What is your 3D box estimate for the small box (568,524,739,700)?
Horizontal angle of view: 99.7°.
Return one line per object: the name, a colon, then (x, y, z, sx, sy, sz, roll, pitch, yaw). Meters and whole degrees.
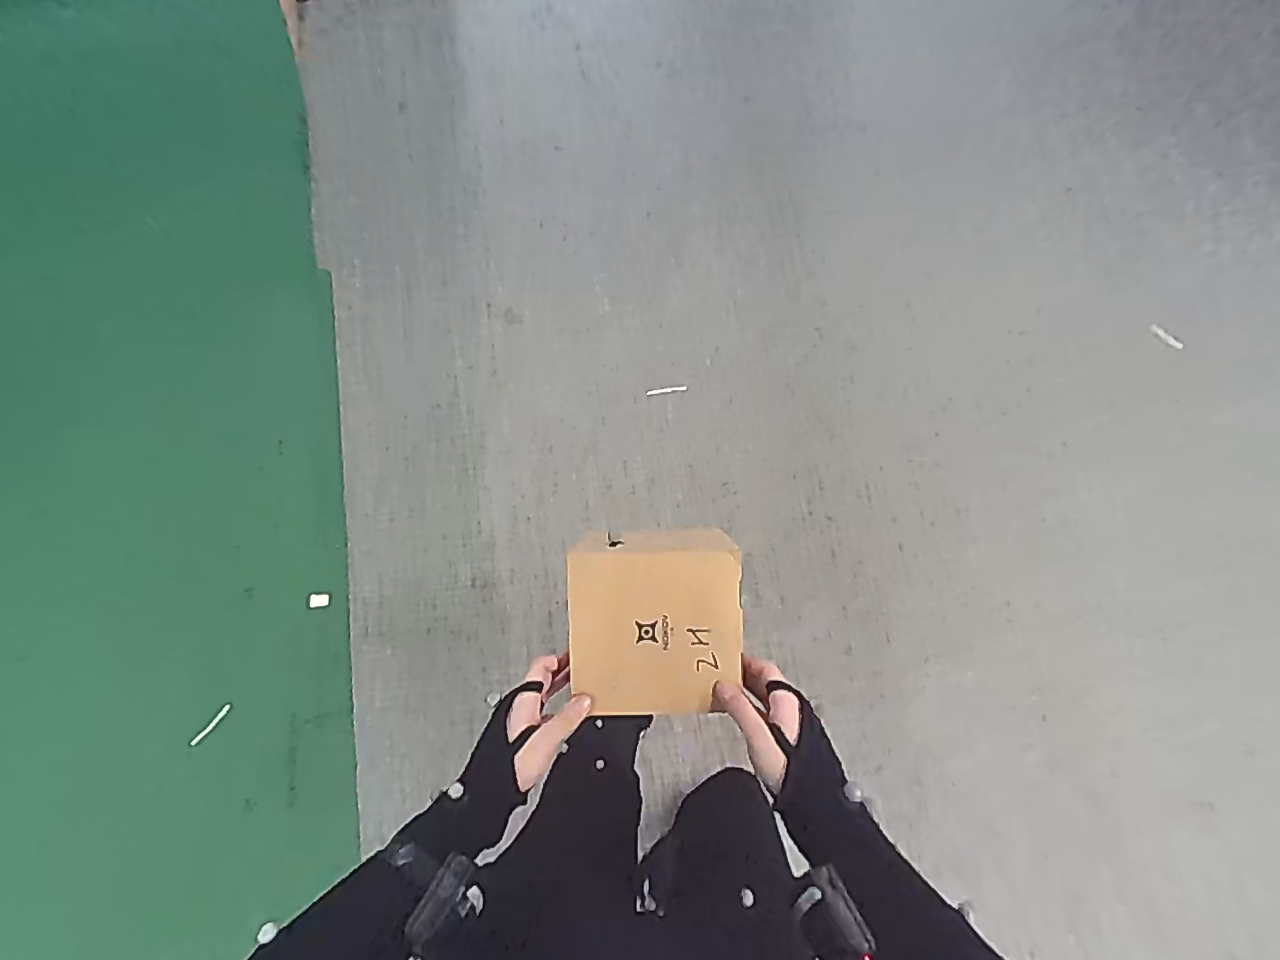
small box: (0.016, 0.143, 0.634, 0.179, 0.176, 0.168, -1, 91, 1)
